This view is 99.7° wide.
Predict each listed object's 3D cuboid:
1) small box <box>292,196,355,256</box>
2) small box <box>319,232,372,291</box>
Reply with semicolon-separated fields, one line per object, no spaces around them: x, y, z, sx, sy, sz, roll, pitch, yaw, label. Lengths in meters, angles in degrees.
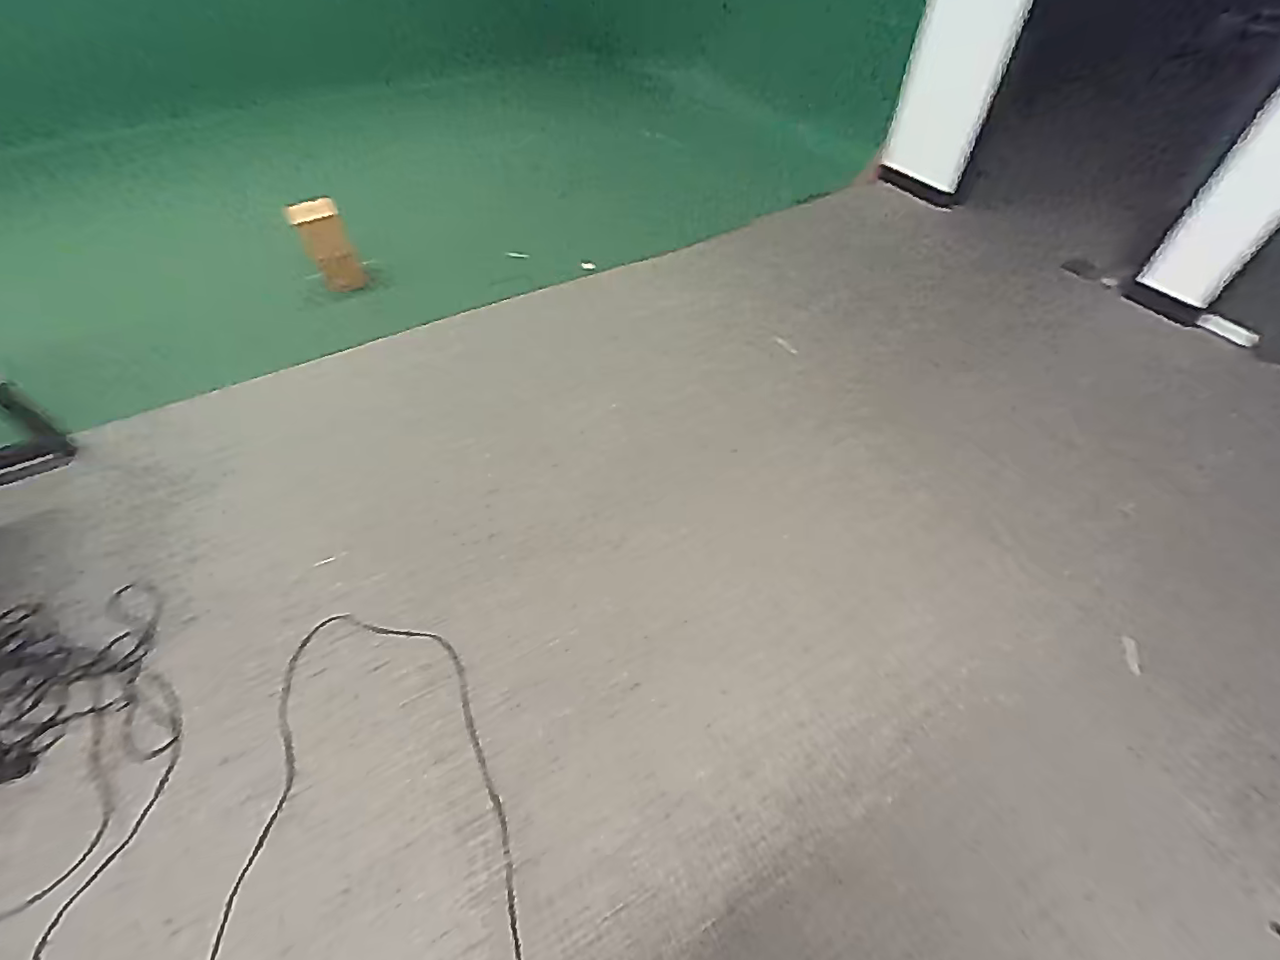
-1.355;-1.083;2.321;0.168;0.176;0.179;-25;54;-17;small box
-1.345;-0.988;2.453;0.168;0.176;0.179;-25;56;-16;small box
